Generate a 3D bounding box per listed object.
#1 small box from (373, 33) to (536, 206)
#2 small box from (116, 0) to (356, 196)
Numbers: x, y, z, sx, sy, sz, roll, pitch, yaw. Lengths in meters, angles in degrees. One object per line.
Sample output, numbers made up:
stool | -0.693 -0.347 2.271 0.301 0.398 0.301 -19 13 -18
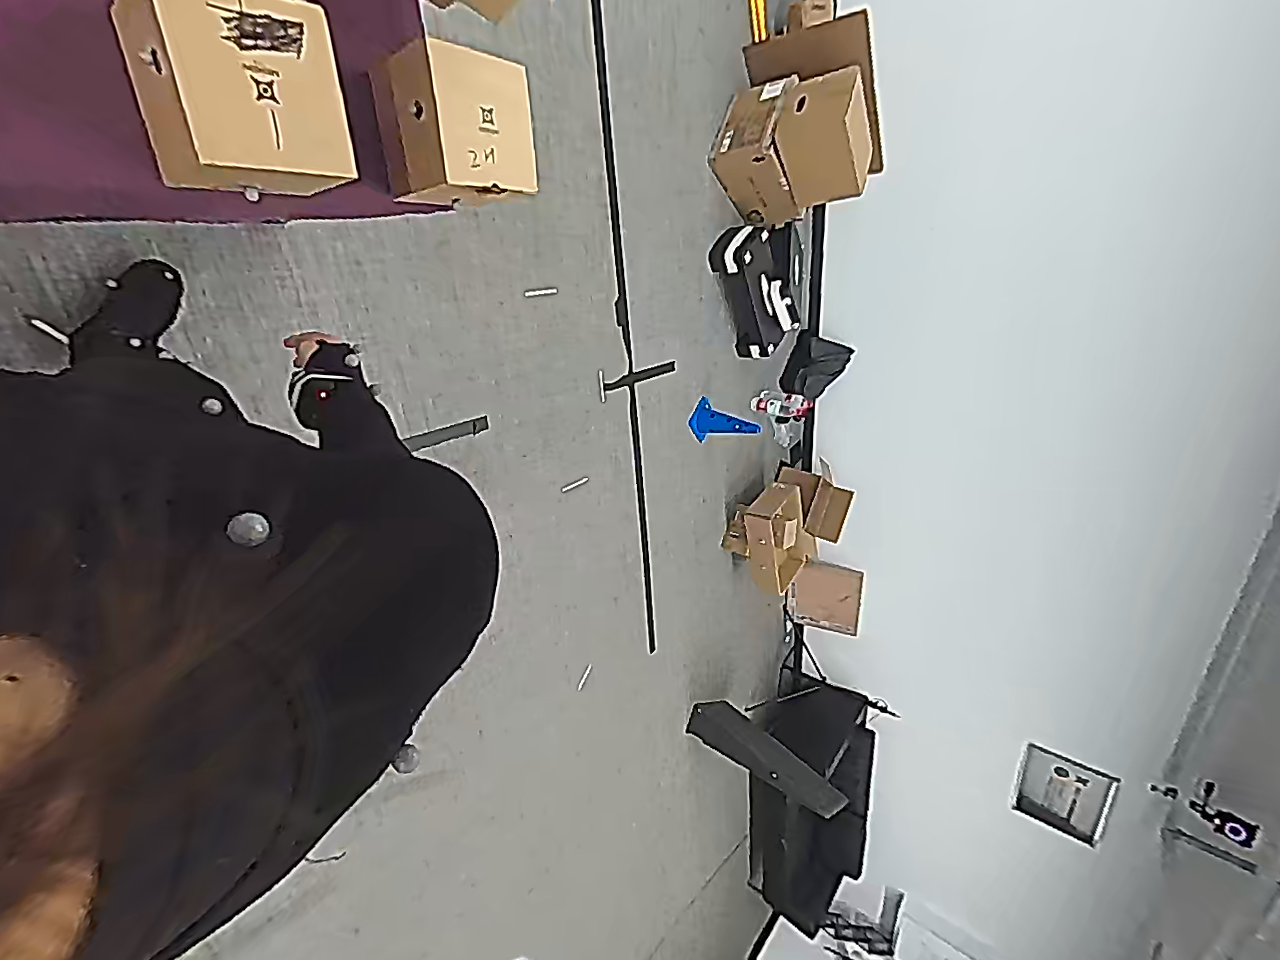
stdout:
small box | -0.285 -0.535 0.833 0.168 0.176 0.179 -24 119 -44
small box | -0.471 -0.448 0.636 0.168 0.176 0.179 -25 120 -44
